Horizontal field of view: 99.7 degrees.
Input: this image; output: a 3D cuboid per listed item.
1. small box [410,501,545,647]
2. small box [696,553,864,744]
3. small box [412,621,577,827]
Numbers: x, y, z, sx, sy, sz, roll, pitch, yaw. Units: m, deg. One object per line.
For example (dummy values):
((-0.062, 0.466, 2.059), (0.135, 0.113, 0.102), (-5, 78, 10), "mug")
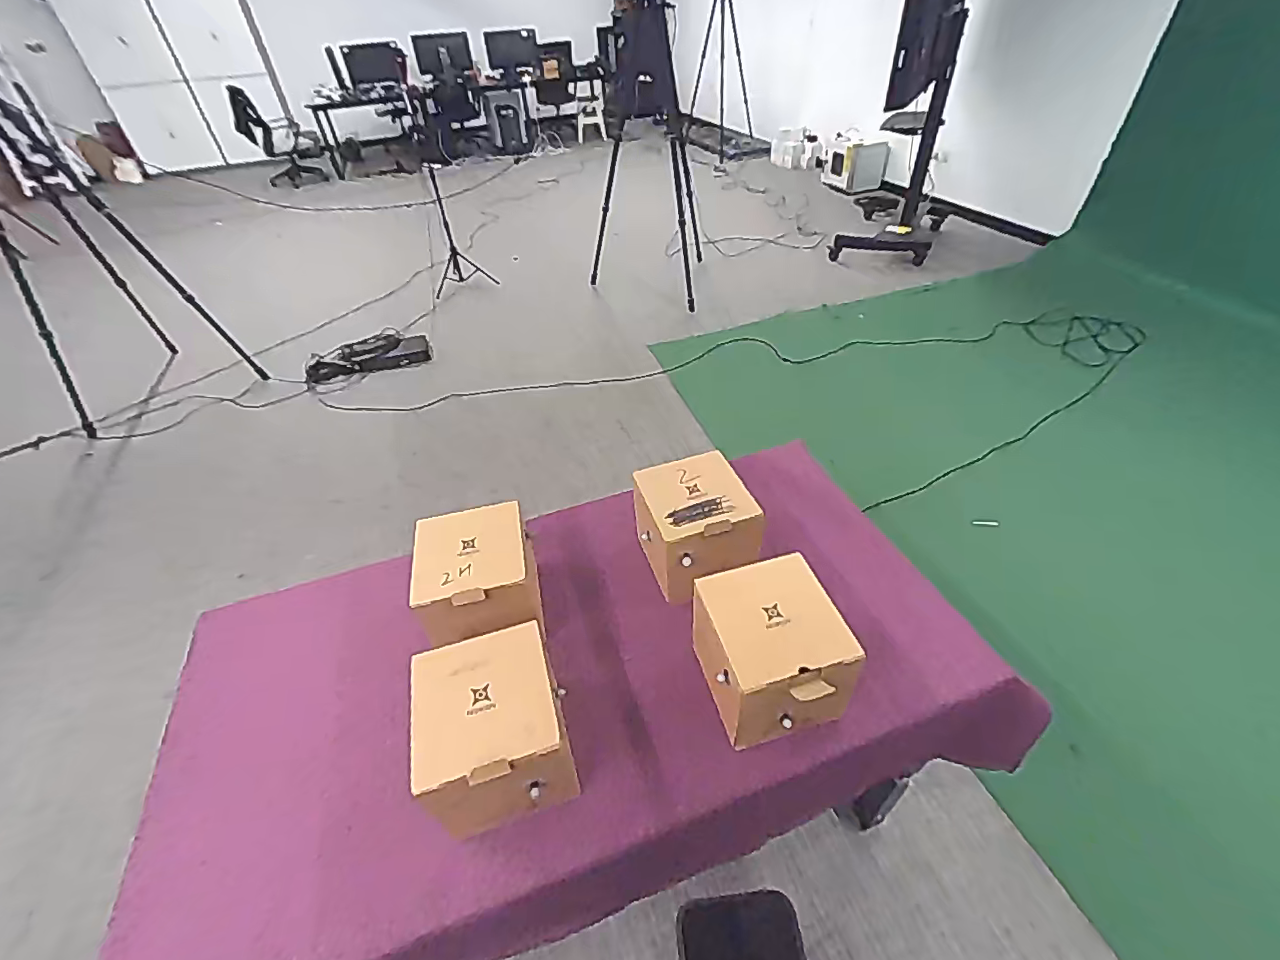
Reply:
((-0.256, 0.163, 0.880), (0.168, 0.176, 0.179), (-12, 43, -7), "small box")
((0.180, 0.235, 0.764), (0.168, 0.176, 0.179), (-13, 43, -9), "small box")
((-0.185, 0.321, 0.704), (0.168, 0.176, 0.179), (-14, 42, -11), "small box")
